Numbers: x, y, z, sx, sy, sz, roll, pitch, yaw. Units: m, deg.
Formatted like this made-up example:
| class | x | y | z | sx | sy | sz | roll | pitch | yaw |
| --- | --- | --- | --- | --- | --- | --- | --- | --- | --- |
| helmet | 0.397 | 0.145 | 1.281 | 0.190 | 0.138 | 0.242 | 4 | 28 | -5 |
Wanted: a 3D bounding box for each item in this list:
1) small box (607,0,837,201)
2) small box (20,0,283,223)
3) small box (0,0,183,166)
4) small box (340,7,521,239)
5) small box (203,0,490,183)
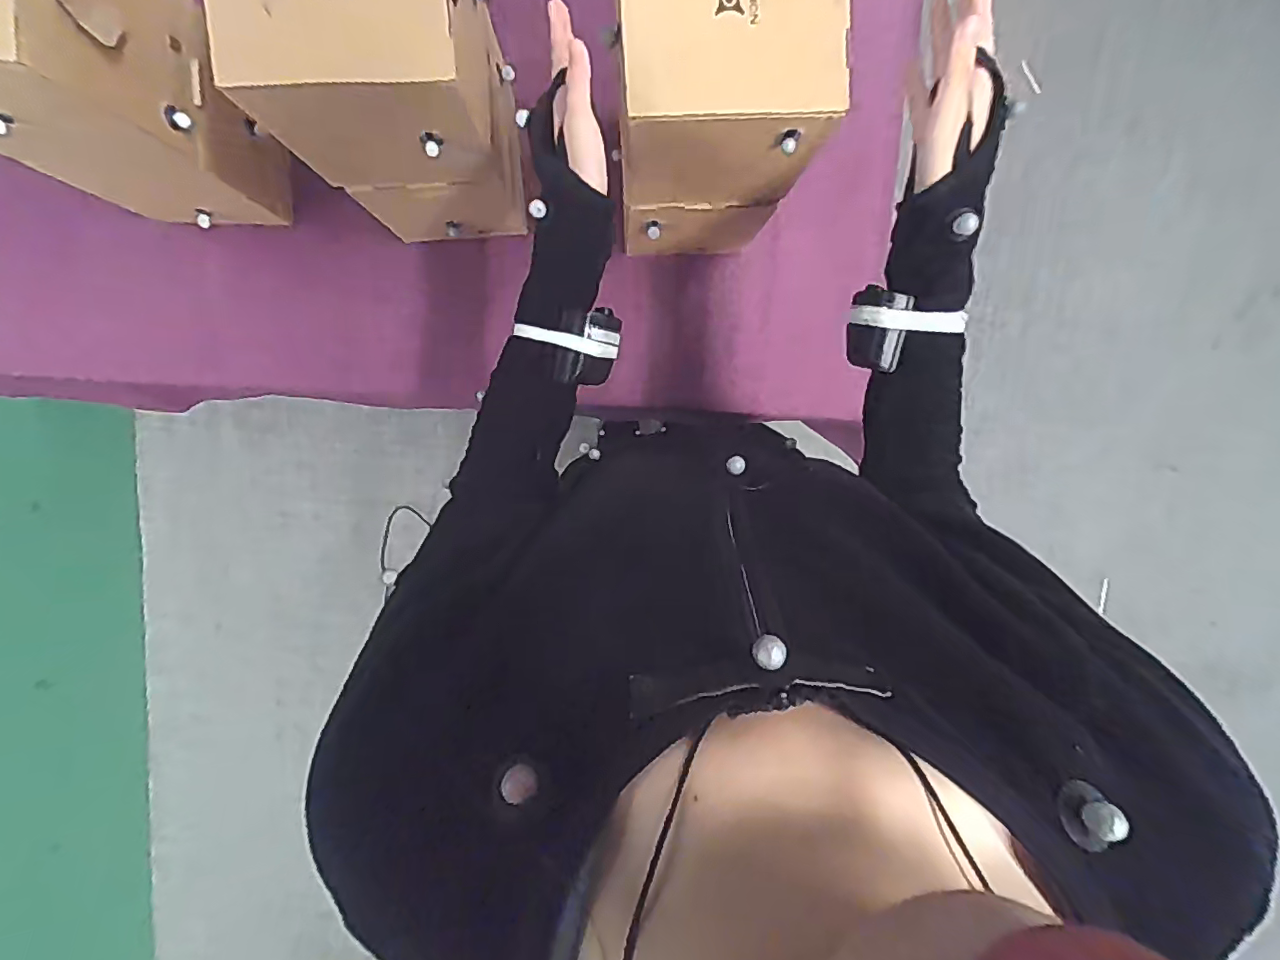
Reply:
| class | x | y | z | sx | sy | sz | roll | pitch | yaw |
| --- | --- | --- | --- | --- | --- | --- | --- | --- | --- |
| small box | 0.060 | -0.370 | 0.489 | 0.179 | 0.176 | 0.168 | -4 | 97 | -3 |
| small box | -0.539 | -0.408 | 0.618 | 0.179 | 0.176 | 0.168 | 1 | 97 | -3 |
| small box | -0.530 | -0.388 | 0.455 | 0.179 | 0.176 | 0.168 | 1 | 97 | -2 |
| small box | -0.241 | -0.403 | 0.635 | 0.168 | 0.176 | 0.179 | -4 | 98 | -2 |
| small box | -0.236 | -0.380 | 0.473 | 0.179 | 0.176 | 0.168 | -3 | 97 | -2 |
